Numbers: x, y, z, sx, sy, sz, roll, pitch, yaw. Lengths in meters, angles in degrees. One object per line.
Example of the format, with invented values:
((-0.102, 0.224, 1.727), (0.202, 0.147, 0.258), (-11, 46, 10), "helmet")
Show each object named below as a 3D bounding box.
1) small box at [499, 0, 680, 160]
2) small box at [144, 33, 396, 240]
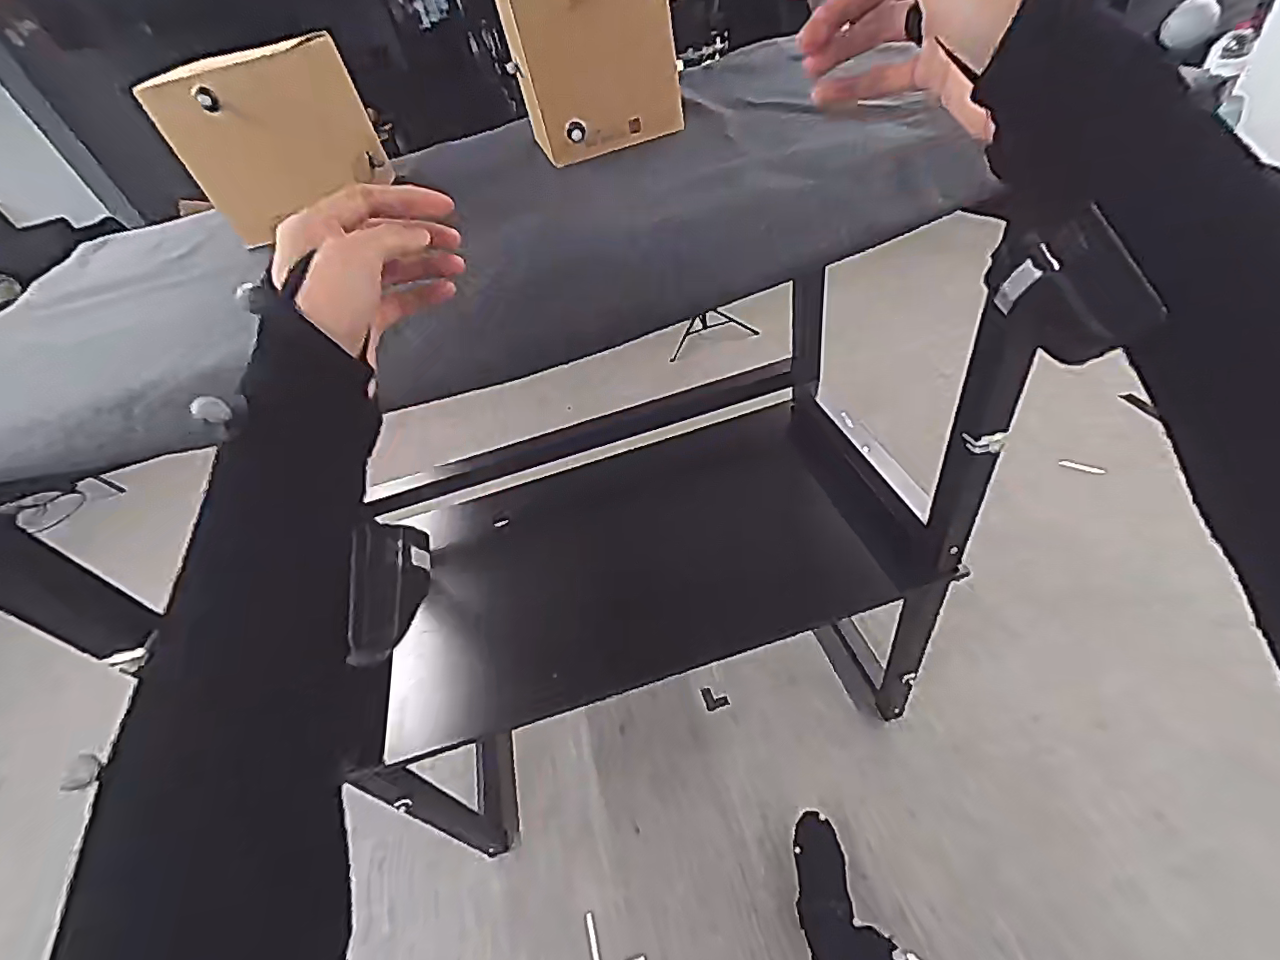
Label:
((-0.060, -0.512, 0.658), (0.168, 0.176, 0.179), (-19, 43, -4), "small box")
((-0.426, -0.419, 0.664), (0.168, 0.176, 0.179), (-14, 44, 1), "small box")
